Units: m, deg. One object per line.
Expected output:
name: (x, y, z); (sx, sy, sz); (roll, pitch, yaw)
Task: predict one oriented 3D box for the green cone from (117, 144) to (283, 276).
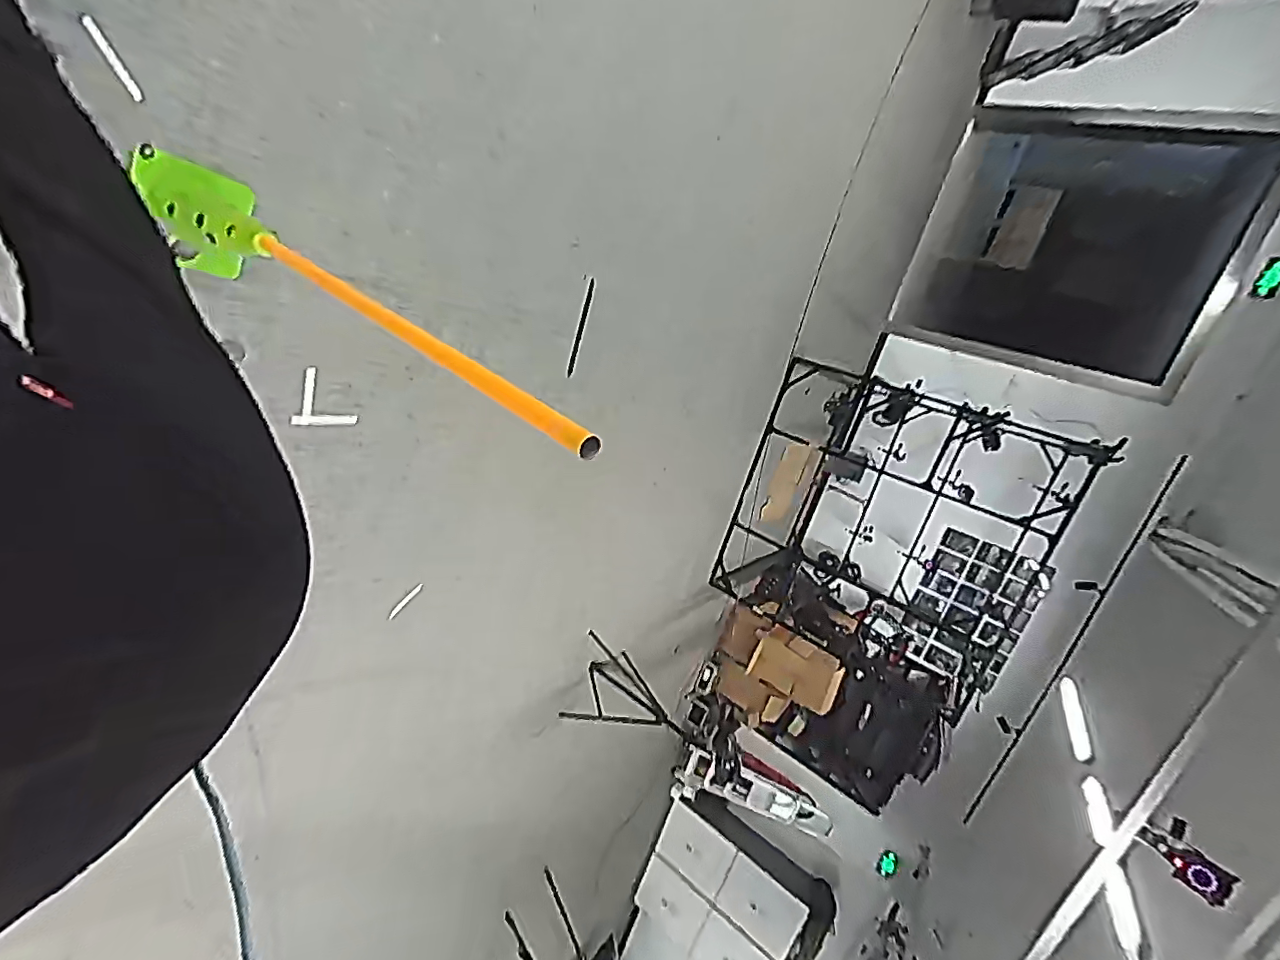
green cone: (-0.792, -0.477, 1.025); (0.202, 0.368, 0.200); (1, 112, -60)
